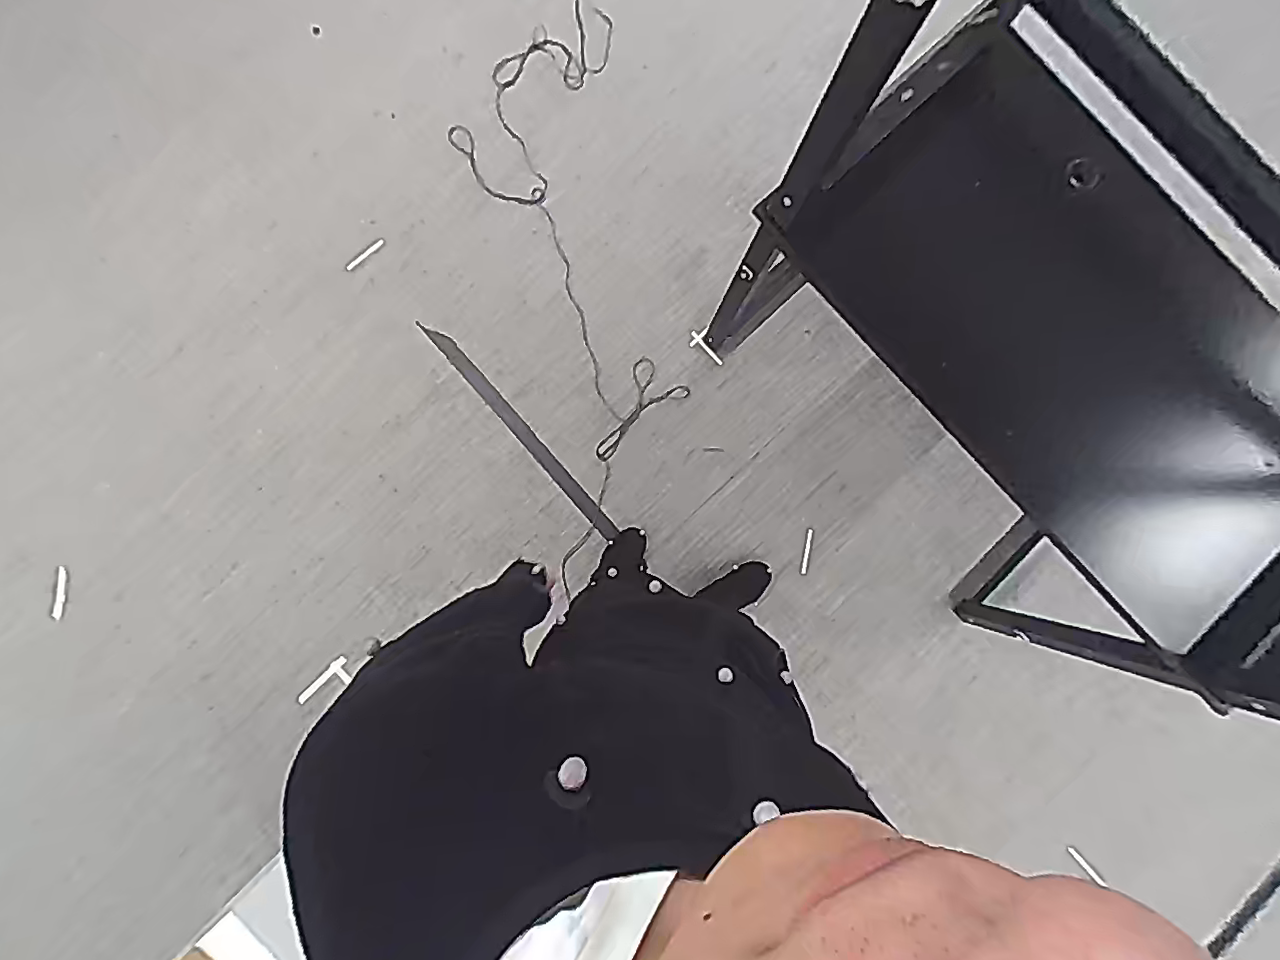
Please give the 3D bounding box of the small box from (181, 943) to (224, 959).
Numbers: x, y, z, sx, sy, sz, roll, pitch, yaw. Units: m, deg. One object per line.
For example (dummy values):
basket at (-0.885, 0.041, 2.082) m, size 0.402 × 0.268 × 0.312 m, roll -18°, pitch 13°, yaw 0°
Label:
small box at (-0.791, 0.945, 0.893) m, size 0.168 × 0.176 × 0.179 m, roll 45°, pitch 87°, yaw -1°
